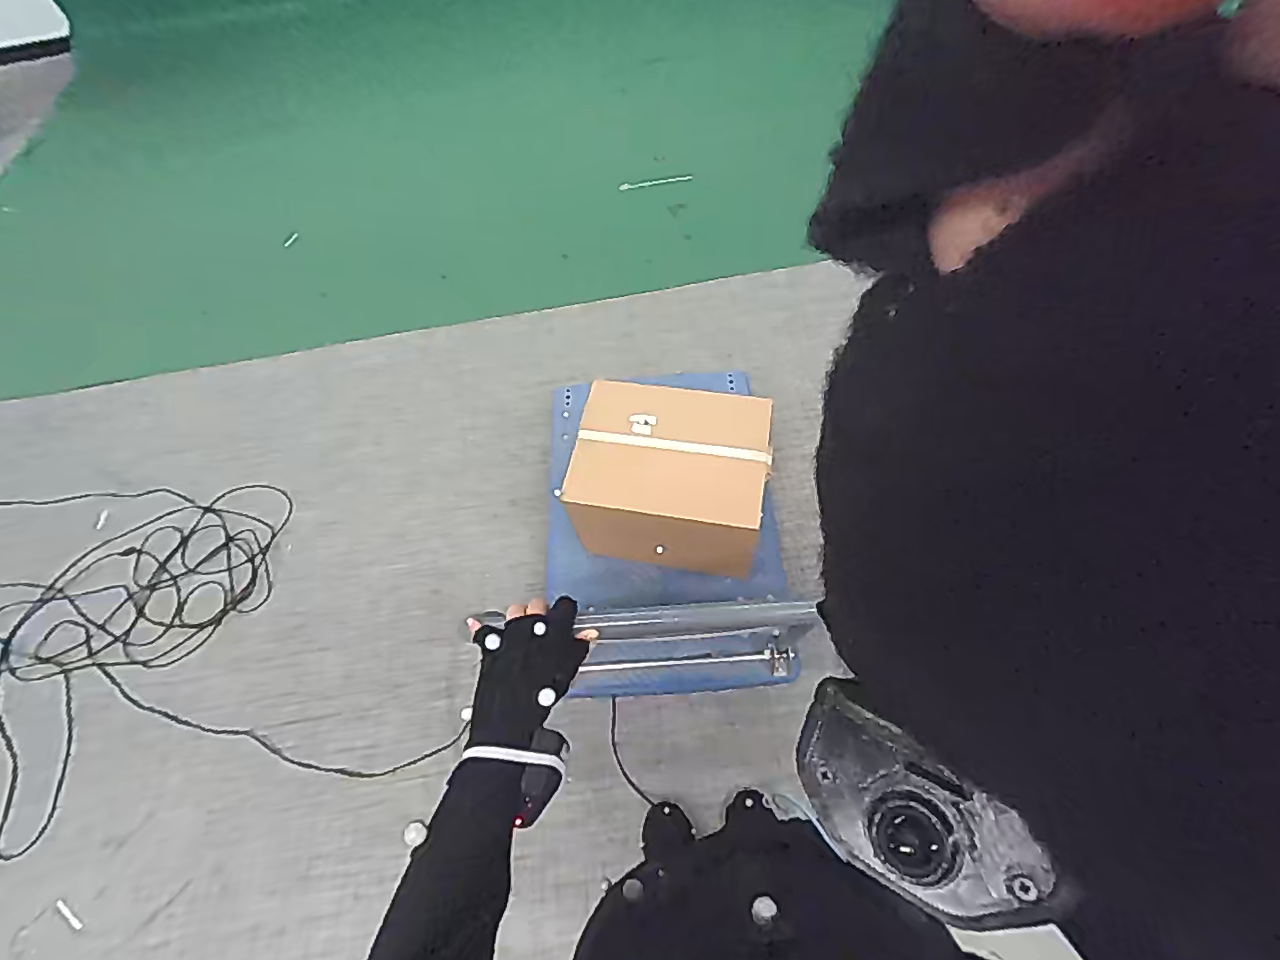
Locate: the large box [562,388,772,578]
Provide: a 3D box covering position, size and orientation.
[{"bbox_3d":[0.080,0.015,1.262,0.408,0.320,0.320,8,63,10],"label":"large box"}]
